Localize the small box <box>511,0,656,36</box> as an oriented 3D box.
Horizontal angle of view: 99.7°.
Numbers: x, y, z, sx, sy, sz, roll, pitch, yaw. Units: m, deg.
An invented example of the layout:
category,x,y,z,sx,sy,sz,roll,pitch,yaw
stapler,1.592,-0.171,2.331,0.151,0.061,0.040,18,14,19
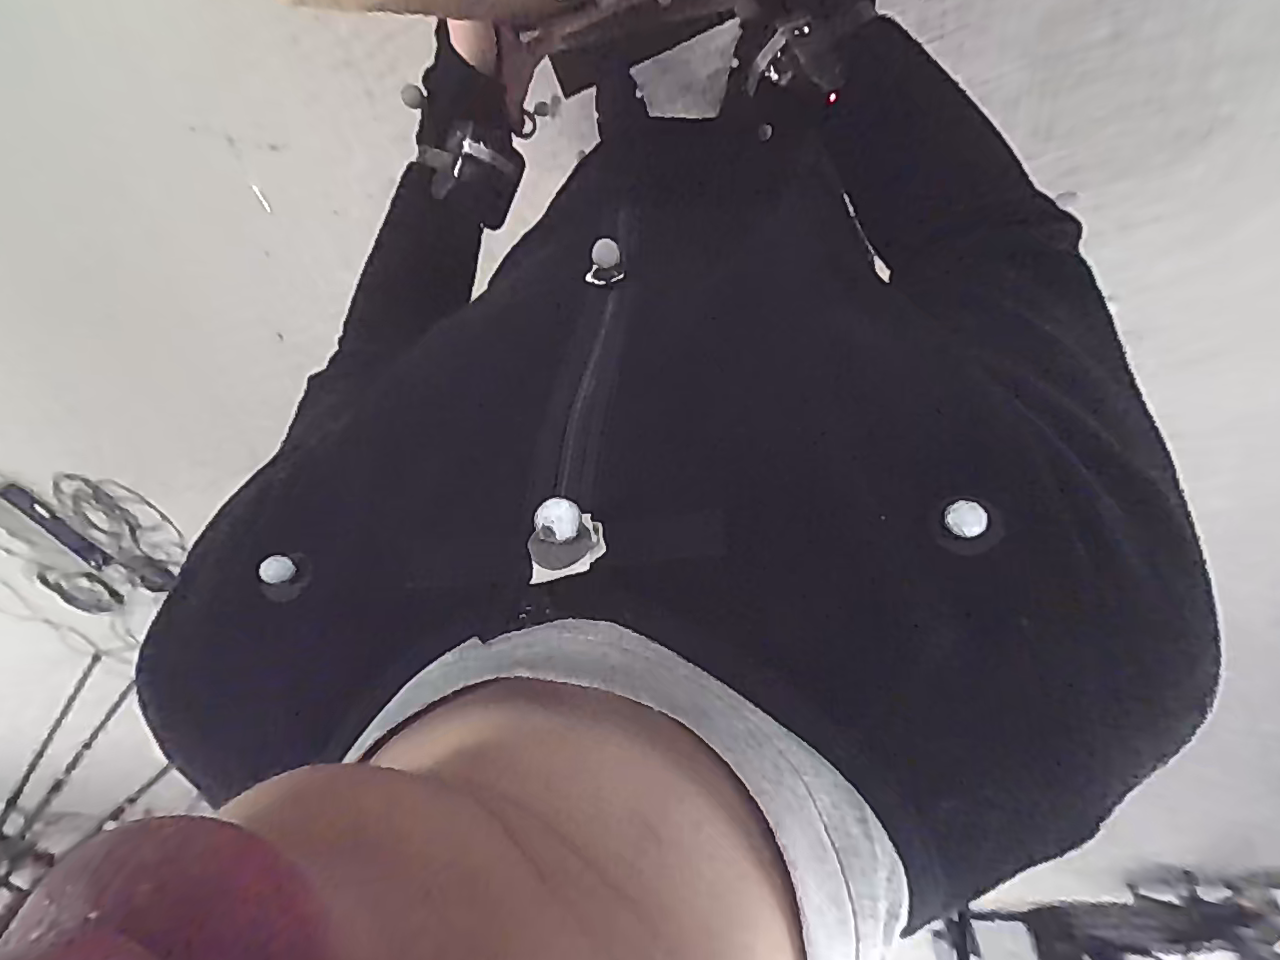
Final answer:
category,x,y,z,sx,sy,sz,roll,pitch,yaw
small box,-0.038,-0.494,0.438,0.168,0.176,0.179,-12,124,14
